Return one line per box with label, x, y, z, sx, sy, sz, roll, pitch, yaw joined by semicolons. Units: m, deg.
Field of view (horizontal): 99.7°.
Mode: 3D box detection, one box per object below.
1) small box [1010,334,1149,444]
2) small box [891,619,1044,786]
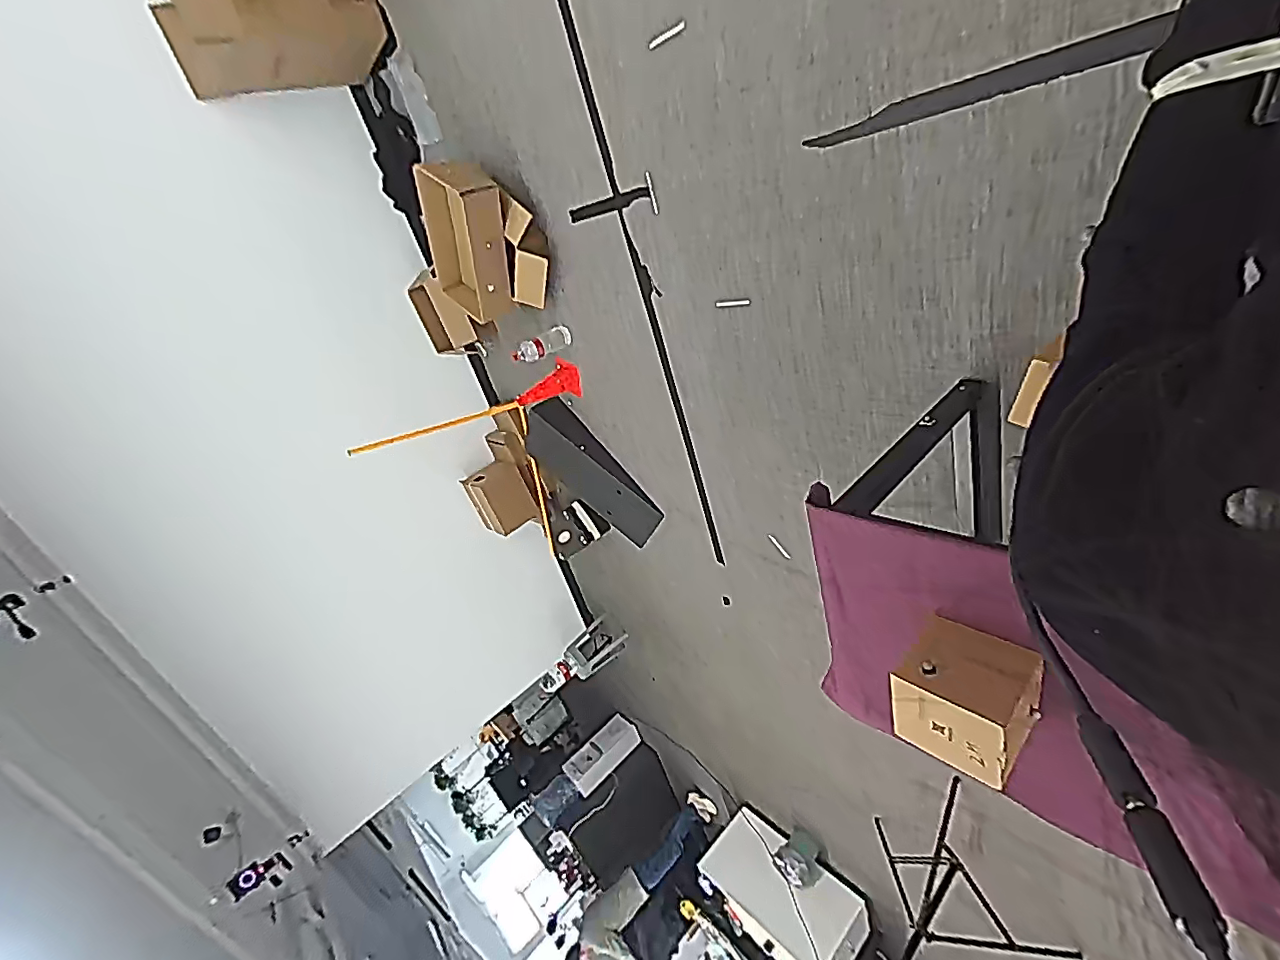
small box;0.986;-0.212;1.218;0.179;0.176;0.168;30;142;36
small box;0.561;0.370;0.935;0.179;0.176;0.168;17;134;47
